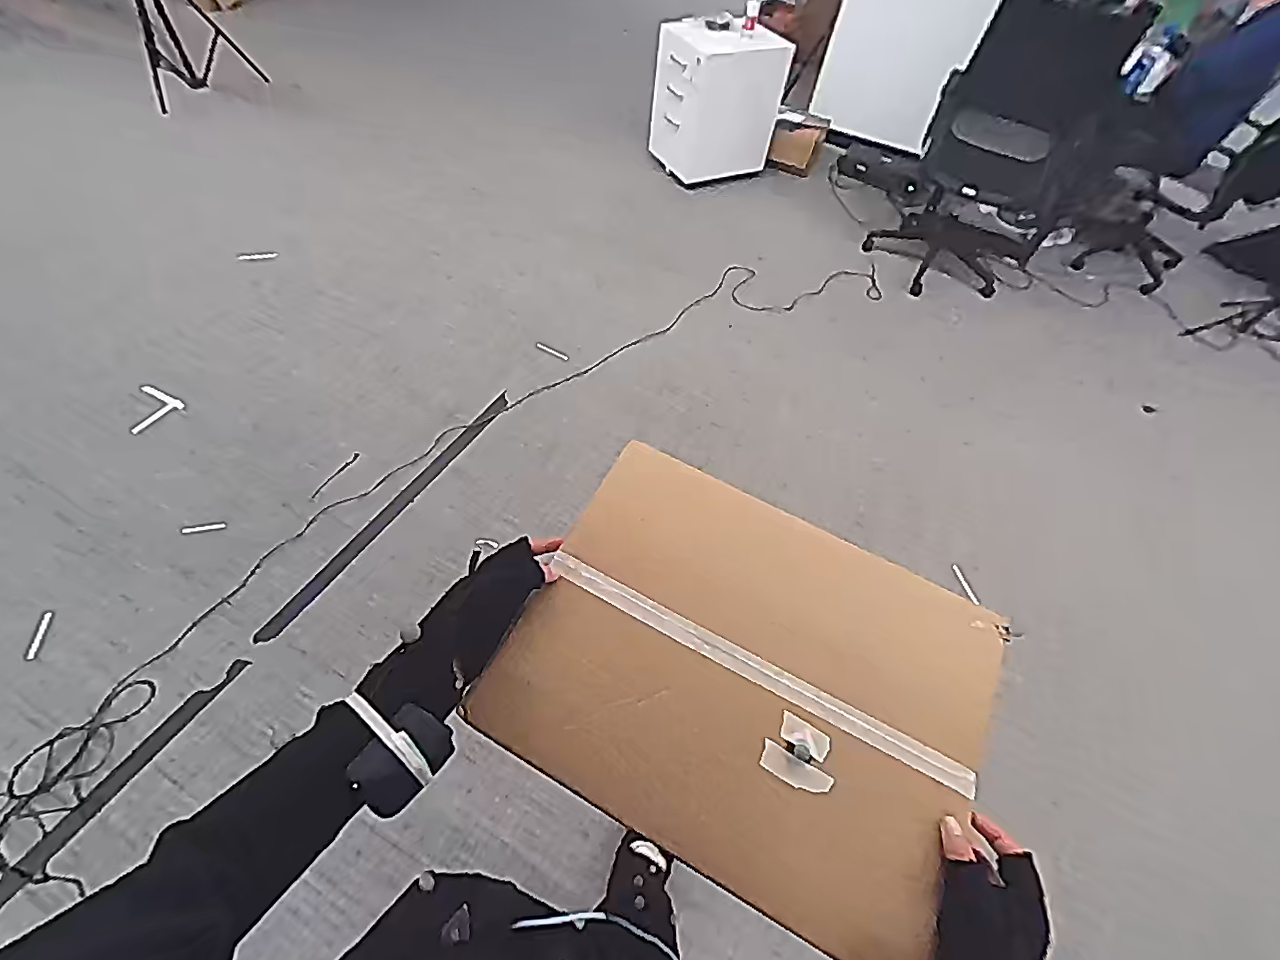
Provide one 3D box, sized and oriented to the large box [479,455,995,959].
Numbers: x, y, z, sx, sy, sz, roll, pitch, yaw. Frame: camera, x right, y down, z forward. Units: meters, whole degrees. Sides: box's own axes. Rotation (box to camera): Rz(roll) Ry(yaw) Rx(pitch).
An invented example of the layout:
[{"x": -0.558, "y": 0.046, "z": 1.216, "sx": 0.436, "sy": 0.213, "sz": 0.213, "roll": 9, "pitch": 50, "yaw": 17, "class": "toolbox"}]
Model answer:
[{"x": 0.093, "y": 0.240, "z": 0.627, "sx": 0.408, "sy": 0.320, "sz": 0.320, "roll": 27, "pitch": 65, "yaw": 11, "class": "large box"}]
